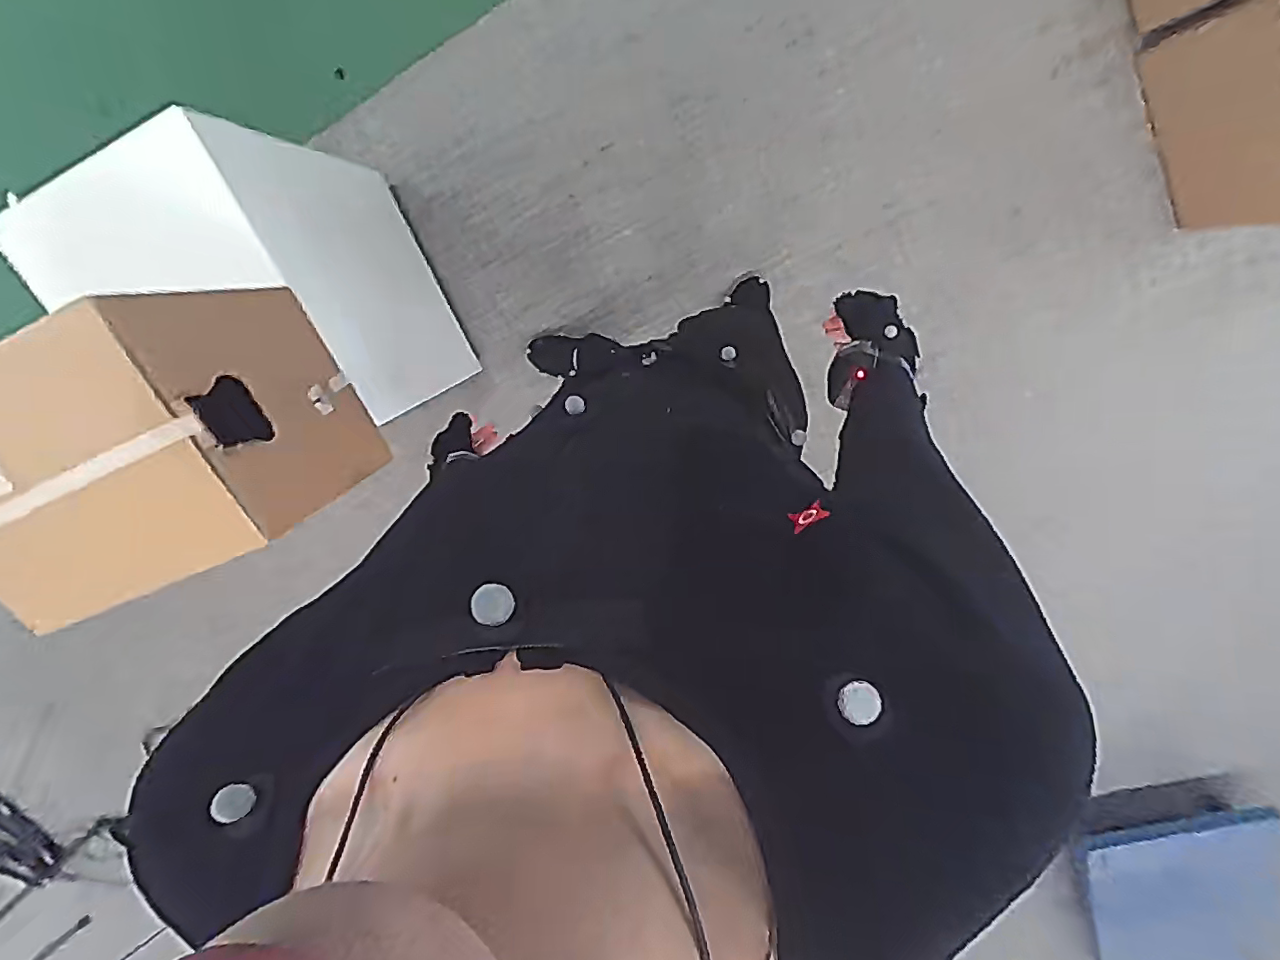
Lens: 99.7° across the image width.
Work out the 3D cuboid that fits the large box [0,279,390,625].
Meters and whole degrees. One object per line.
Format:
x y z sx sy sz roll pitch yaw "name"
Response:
-0.670 -0.057 0.783 0.408 0.320 0.320 -20 108 12 "large box"
